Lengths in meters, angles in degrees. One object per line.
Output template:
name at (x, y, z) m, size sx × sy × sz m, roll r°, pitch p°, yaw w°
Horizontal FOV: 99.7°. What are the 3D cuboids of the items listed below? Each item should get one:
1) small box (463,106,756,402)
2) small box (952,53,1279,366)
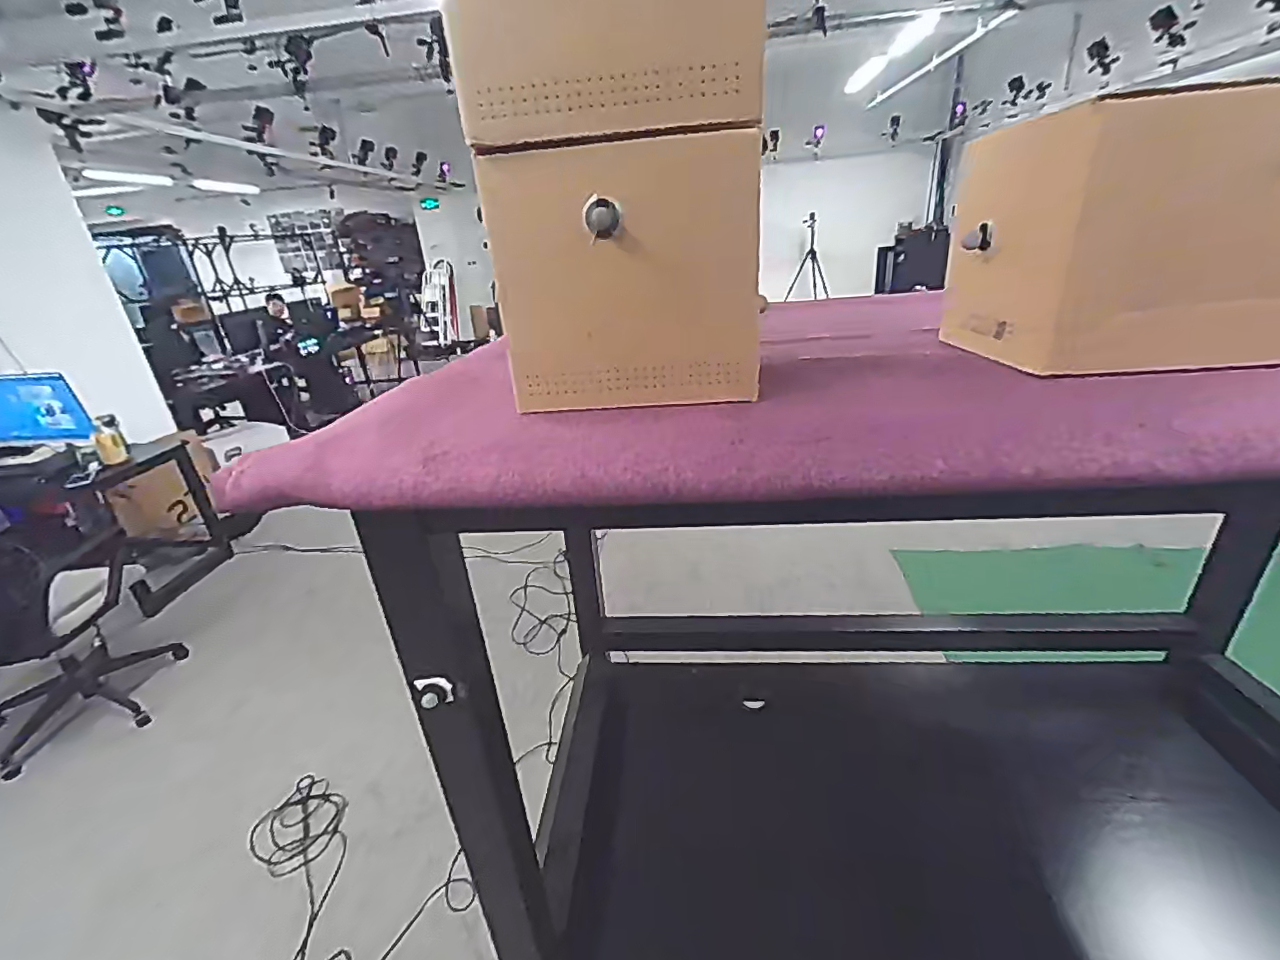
small box at (-0.008, -0.162, 0.414) m, size 0.179 × 0.176 × 0.168 m, roll -2°, pitch 26°, yaw 5°
small box at (0.355, -0.183, 0.398) m, size 0.179 × 0.176 × 0.168 m, roll -2°, pitch 23°, yaw 6°
